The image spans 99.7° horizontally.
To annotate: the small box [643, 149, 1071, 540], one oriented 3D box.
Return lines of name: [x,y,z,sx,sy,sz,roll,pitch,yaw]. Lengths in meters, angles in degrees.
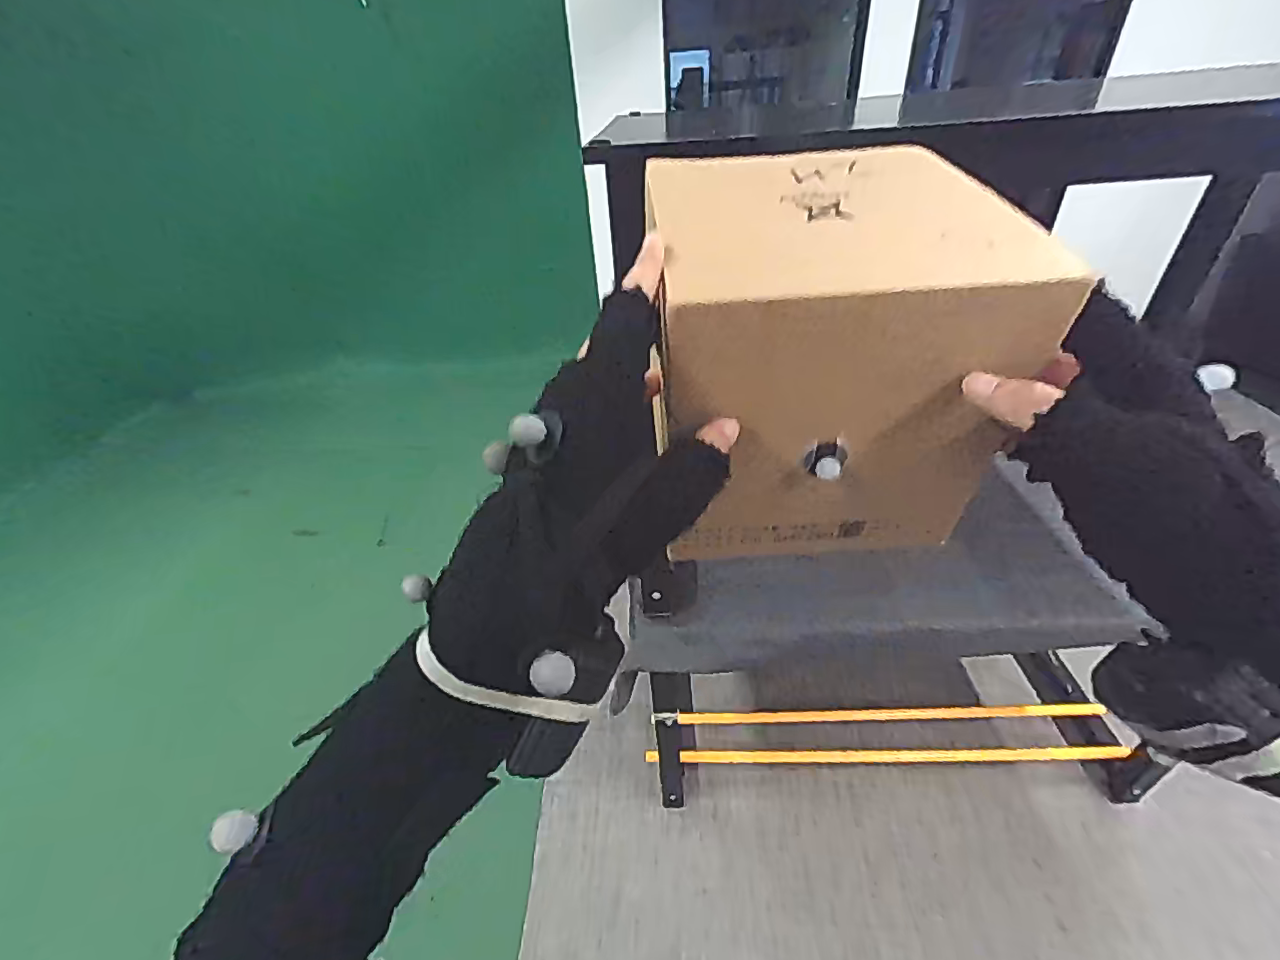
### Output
small box: [0.090,-0.075,0.324,0.168,0.176,0.179,-3,45,0]
